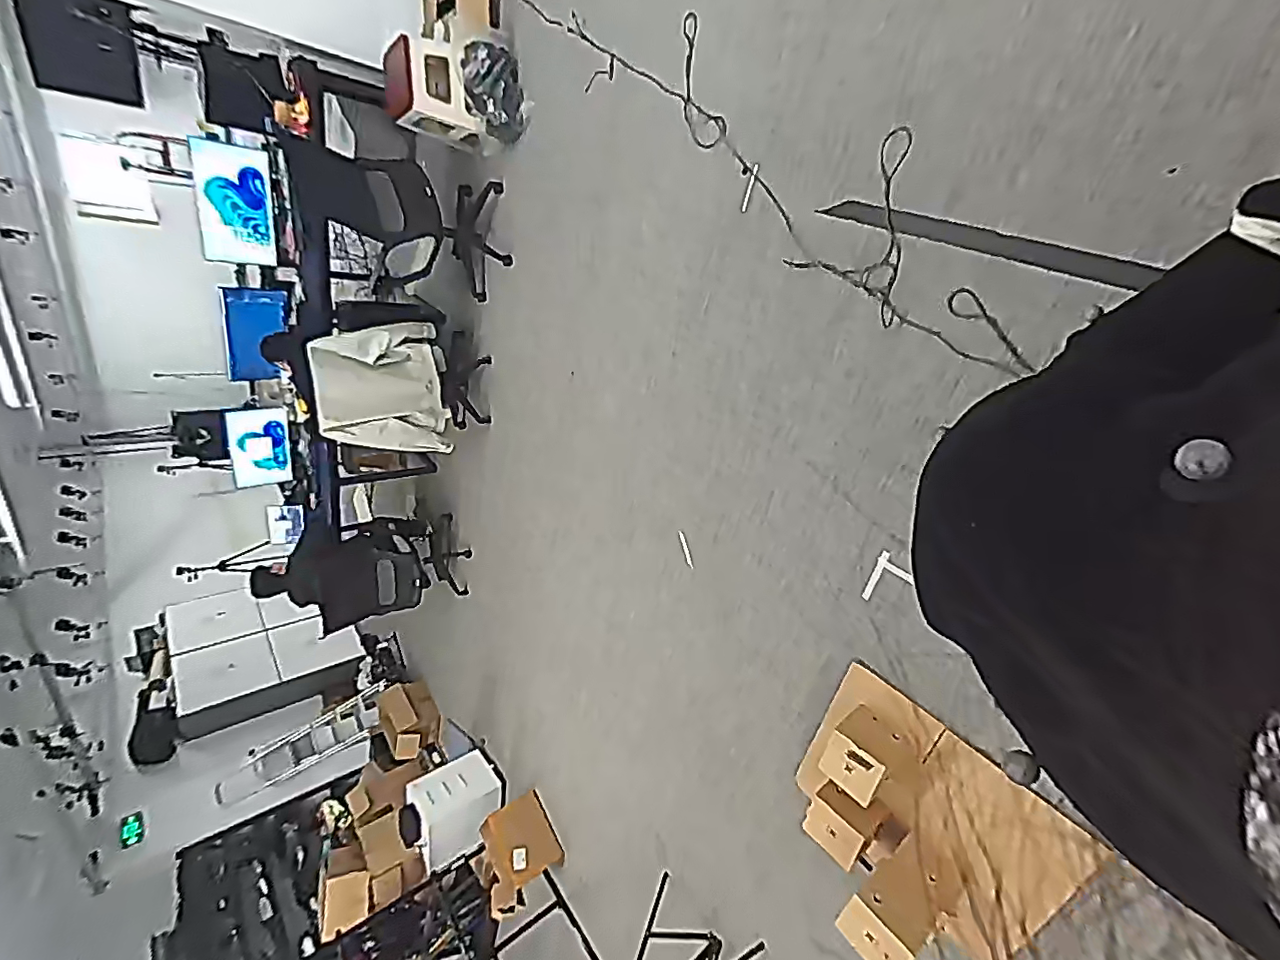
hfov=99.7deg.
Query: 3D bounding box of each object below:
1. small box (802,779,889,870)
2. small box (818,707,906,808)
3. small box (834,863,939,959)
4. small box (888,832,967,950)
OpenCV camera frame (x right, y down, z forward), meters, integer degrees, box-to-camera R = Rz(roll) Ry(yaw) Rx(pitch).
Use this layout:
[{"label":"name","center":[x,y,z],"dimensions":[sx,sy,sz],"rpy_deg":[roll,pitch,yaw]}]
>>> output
[{"label":"small box","center":[0.653,1.072,1.720],"dimensions":[0.179,0.176,0.168],"rpy_deg":[30,122,40]},{"label":"small box","center":[0.675,0.827,1.632],"dimensions":[0.168,0.176,0.179],"rpy_deg":[32,122,40]},{"label":"small box","center":[0.669,1.191,1.469],"dimensions":[0.179,0.176,0.168],"rpy_deg":[35,125,39]},{"label":"small box","center":[0.808,1.176,1.561],"dimensions":[0.179,0.176,0.168],"rpy_deg":[31,121,40]}]
